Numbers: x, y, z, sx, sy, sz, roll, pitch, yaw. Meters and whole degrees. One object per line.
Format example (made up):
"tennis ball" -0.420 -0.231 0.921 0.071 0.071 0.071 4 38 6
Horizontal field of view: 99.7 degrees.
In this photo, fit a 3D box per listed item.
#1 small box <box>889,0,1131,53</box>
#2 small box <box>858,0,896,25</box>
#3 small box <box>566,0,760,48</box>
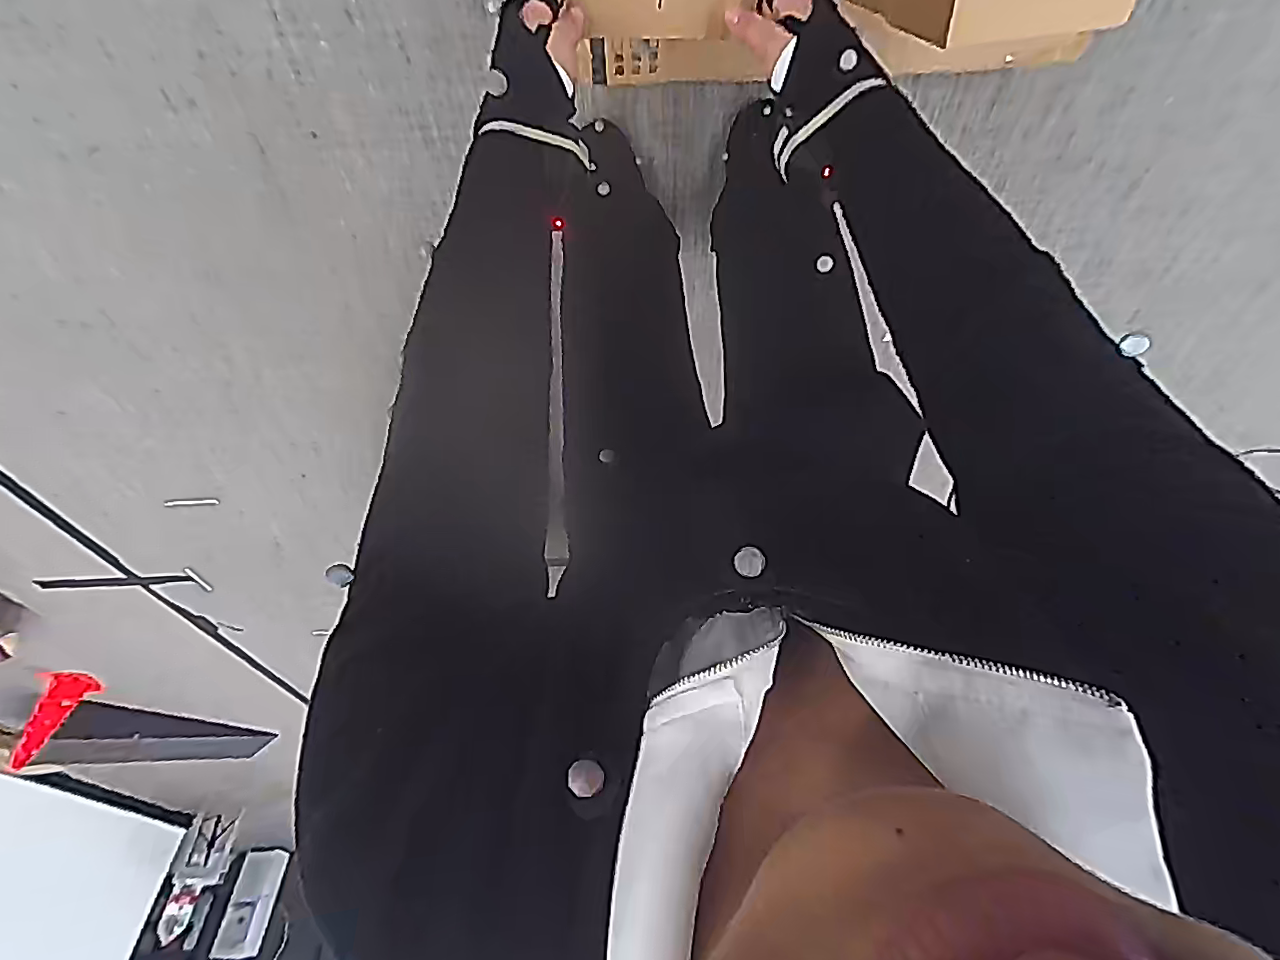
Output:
"small box" 0.354 -0.530 0.502 0.168 0.176 0.179 -6 138 4
"small box" 0.355 -0.649 0.612 0.168 0.176 0.179 -6 138 0
"small box" 0.015 -0.499 0.478 0.168 0.176 0.179 -2 130 -5
